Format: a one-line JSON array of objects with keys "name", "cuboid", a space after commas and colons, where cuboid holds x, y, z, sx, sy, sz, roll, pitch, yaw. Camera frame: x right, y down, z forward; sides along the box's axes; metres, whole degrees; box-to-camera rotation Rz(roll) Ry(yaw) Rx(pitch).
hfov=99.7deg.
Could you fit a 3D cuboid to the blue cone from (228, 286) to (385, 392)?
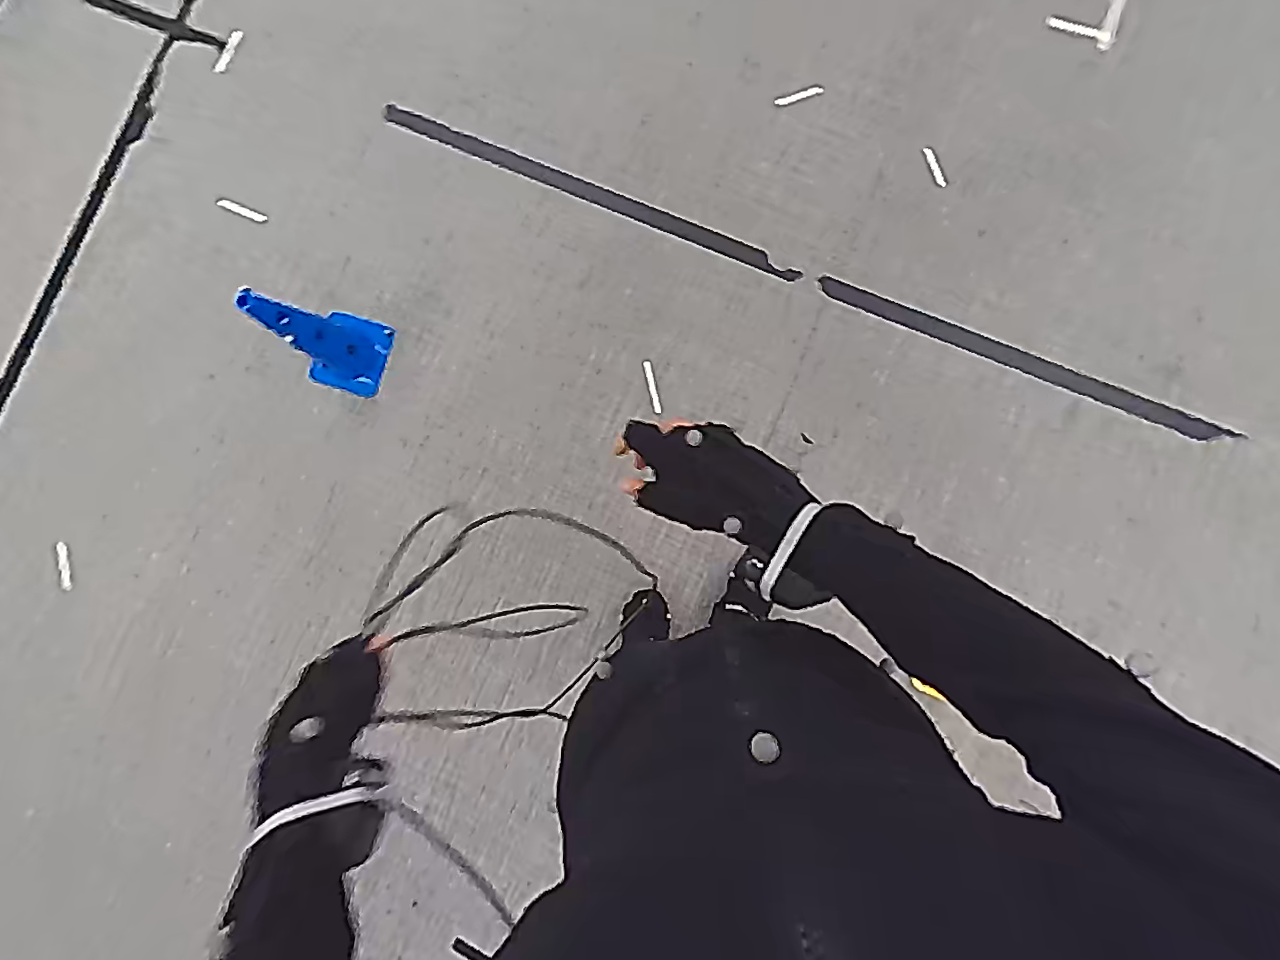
[{"name": "blue cone", "cuboid": [-0.802, -0.350, 1.276, 0.193, 0.380, 0.192, 18, 87, 7]}]
